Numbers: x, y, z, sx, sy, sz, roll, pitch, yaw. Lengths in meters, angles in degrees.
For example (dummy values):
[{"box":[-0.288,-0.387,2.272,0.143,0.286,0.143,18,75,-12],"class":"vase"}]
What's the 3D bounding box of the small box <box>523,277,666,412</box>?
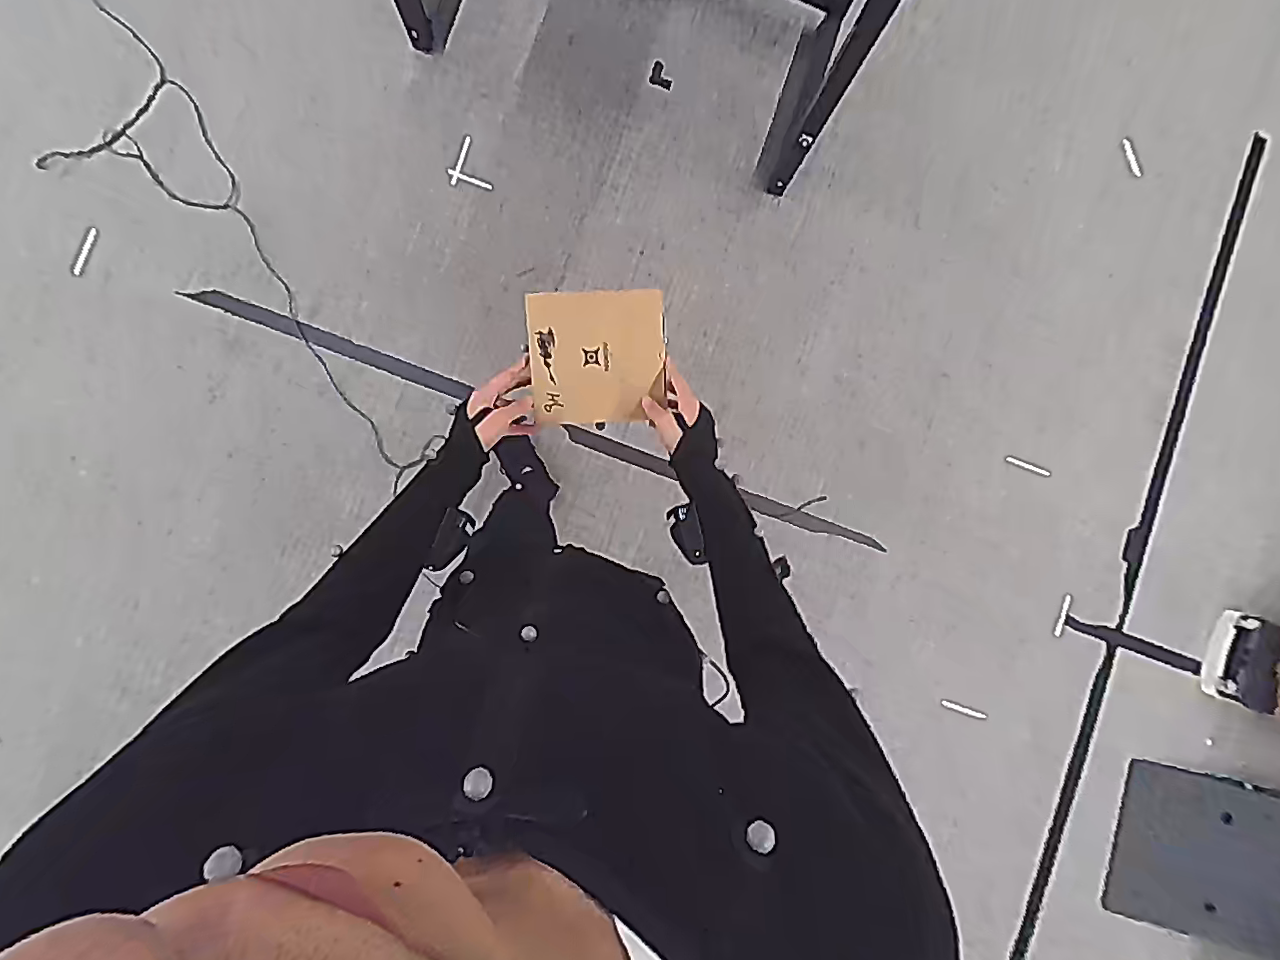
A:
[{"box":[-0.063,-0.184,0.760,0.179,0.176,0.168,-3,99,-5],"class":"small box"}]
